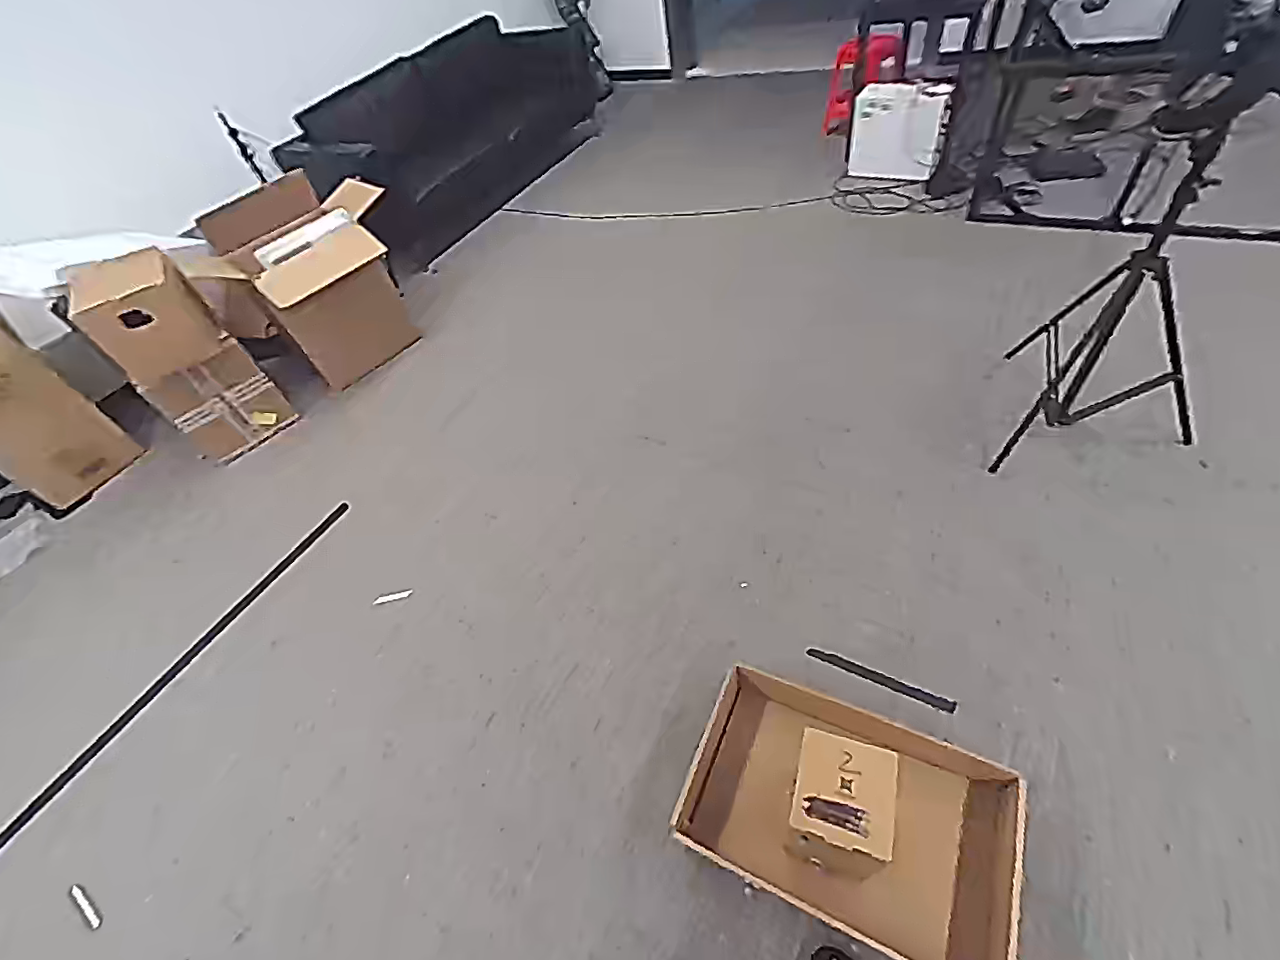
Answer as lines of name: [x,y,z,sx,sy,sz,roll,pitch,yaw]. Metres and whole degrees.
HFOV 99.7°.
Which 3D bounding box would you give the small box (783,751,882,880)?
small box: [0.401,0.708,1.140,0.168,0.176,0.179,10,54,21]
